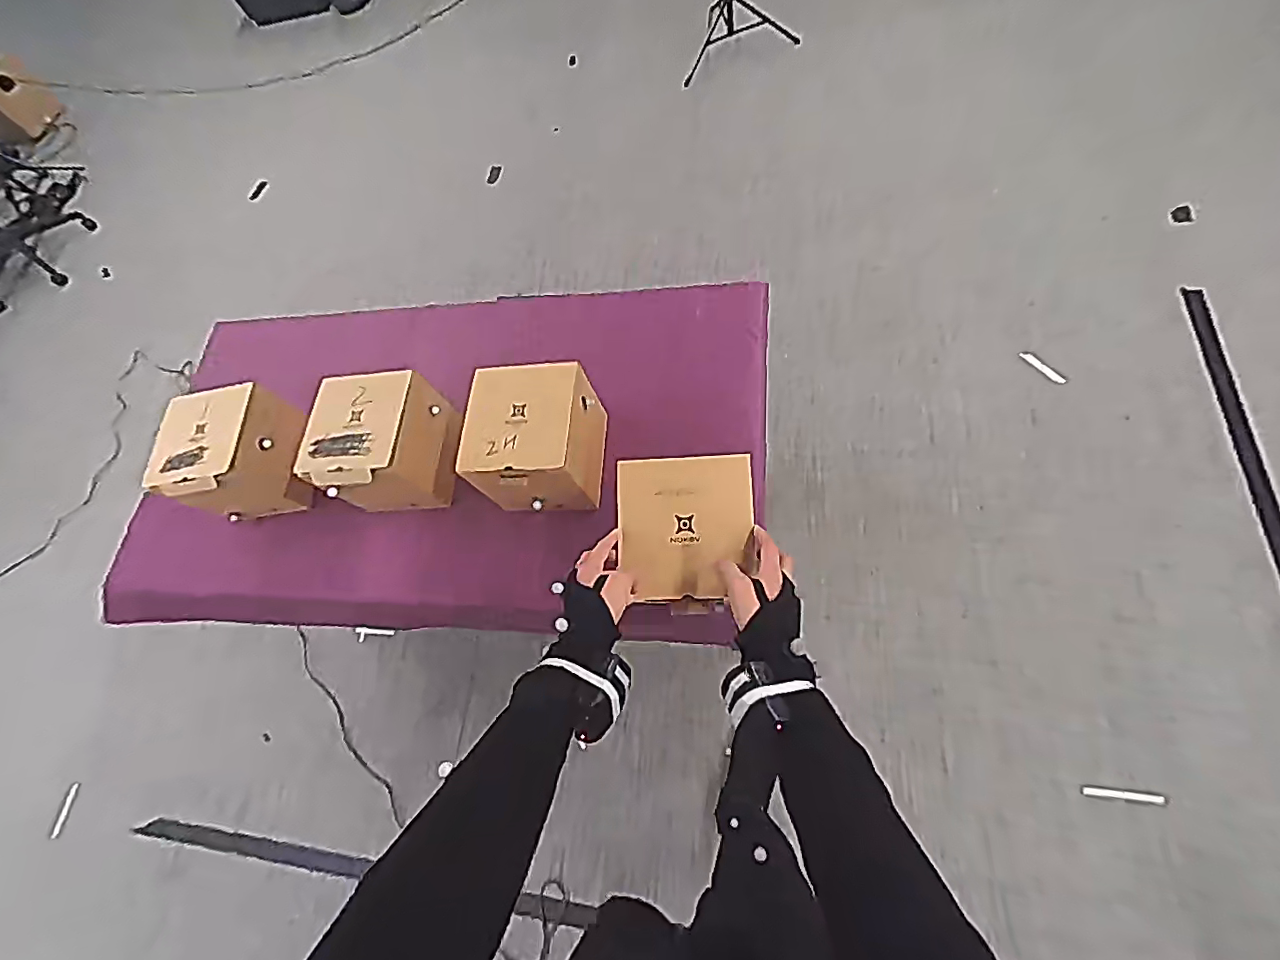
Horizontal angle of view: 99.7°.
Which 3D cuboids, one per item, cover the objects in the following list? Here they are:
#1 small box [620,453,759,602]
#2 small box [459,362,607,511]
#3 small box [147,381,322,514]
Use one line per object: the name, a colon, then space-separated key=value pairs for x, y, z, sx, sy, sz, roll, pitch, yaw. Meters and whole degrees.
small box: x=0.069 y=0.072 z=0.720 sx=0.168 sy=0.176 sz=0.179 roll=-2 pitch=76 yaw=8
small box: x=-0.153 y=-0.062 z=0.842 sx=0.168 sy=0.176 sz=0.179 roll=-1 pitch=68 yaw=13
small box: x=-0.699 y=-0.046 z=0.956 sx=0.168 sy=0.176 sz=0.179 roll=-8 pitch=66 yaw=9
